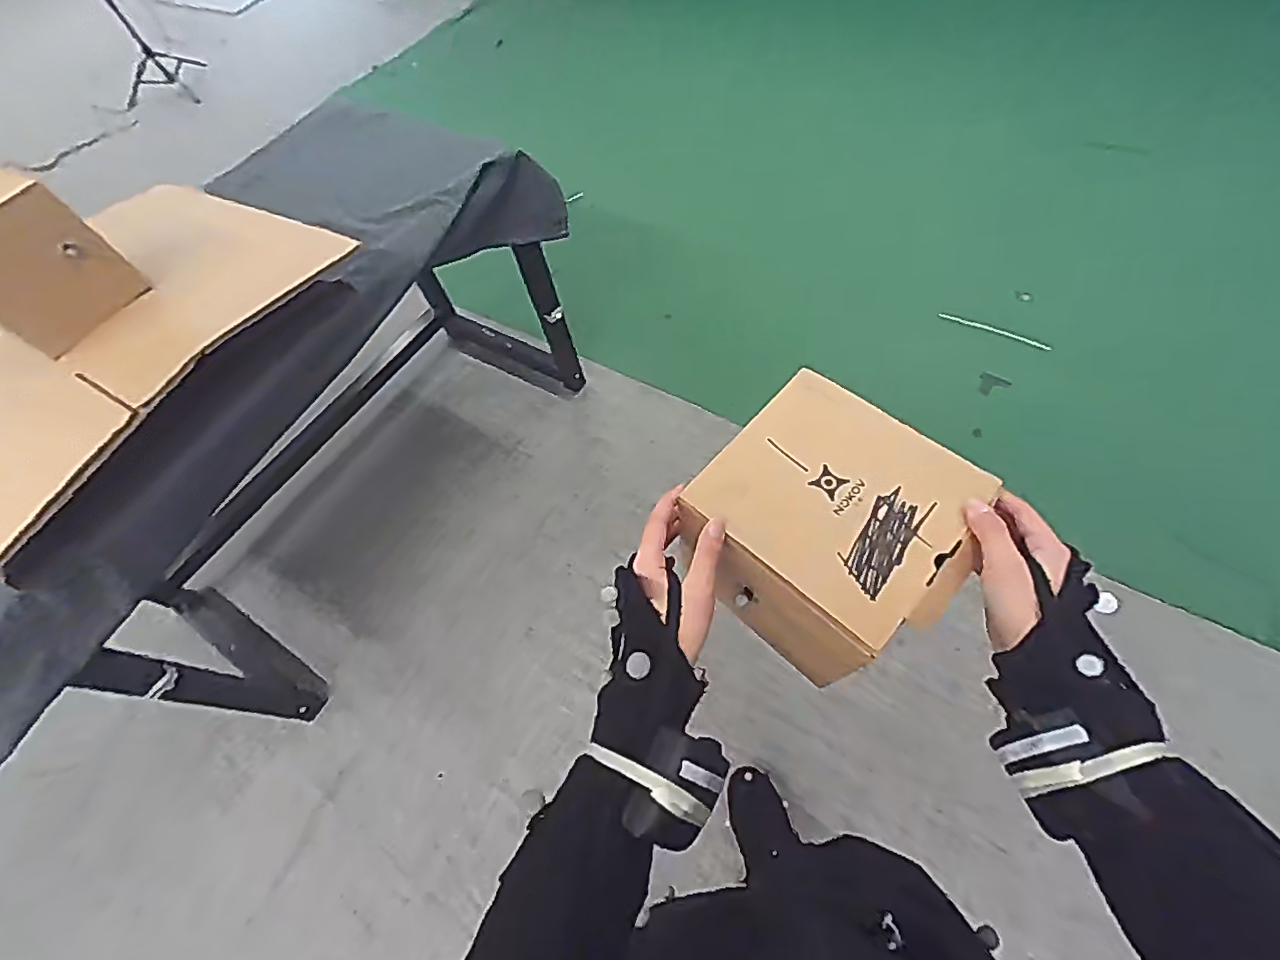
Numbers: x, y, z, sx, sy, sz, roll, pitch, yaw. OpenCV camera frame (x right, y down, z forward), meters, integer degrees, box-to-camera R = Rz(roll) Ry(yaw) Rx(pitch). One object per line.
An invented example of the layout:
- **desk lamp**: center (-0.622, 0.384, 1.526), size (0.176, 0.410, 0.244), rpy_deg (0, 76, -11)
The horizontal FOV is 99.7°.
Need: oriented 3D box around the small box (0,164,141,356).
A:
- **small box**: center (-0.870, -0.310, 0.763), size (0.168, 0.176, 0.179), rpy_deg (22, 66, 22)
